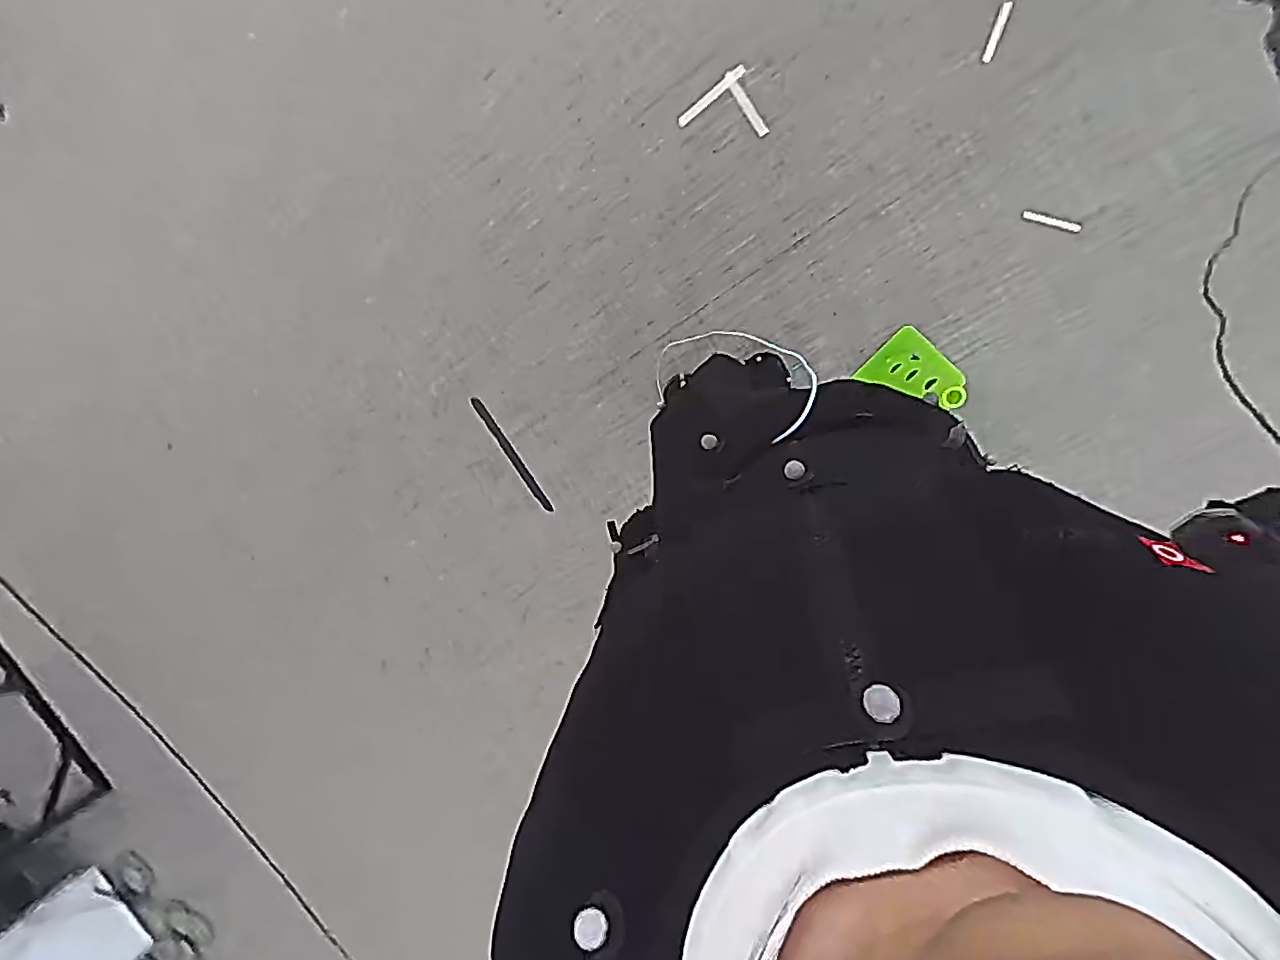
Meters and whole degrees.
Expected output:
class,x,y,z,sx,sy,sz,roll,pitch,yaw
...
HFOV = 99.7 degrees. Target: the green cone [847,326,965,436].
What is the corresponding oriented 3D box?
class,x,y,z,sx,sy,sz,roll,pitch,yaw
green cone,0.593,-0.196,1.122,0.202,0.368,0.200,43,107,1
